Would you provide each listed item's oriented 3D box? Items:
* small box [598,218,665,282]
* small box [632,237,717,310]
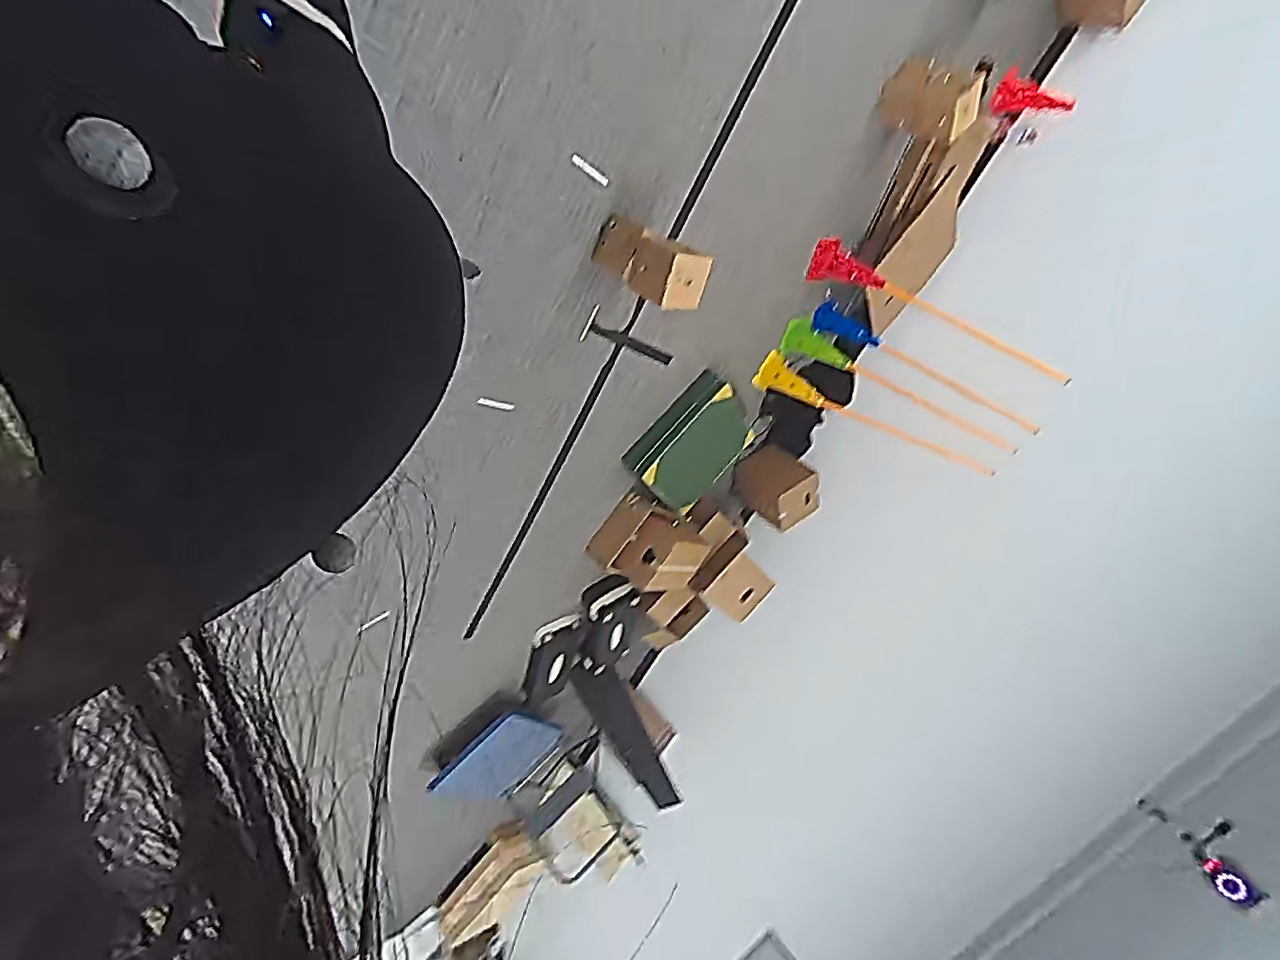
[{"bbox_3d":[-0.008,-0.743,1.791,0.179,0.176,0.168,3,122,-52],"label":"small box"},{"bbox_3d":[0.105,-0.653,1.710,0.179,0.176,0.168,-10,130,-42],"label":"small box"}]
